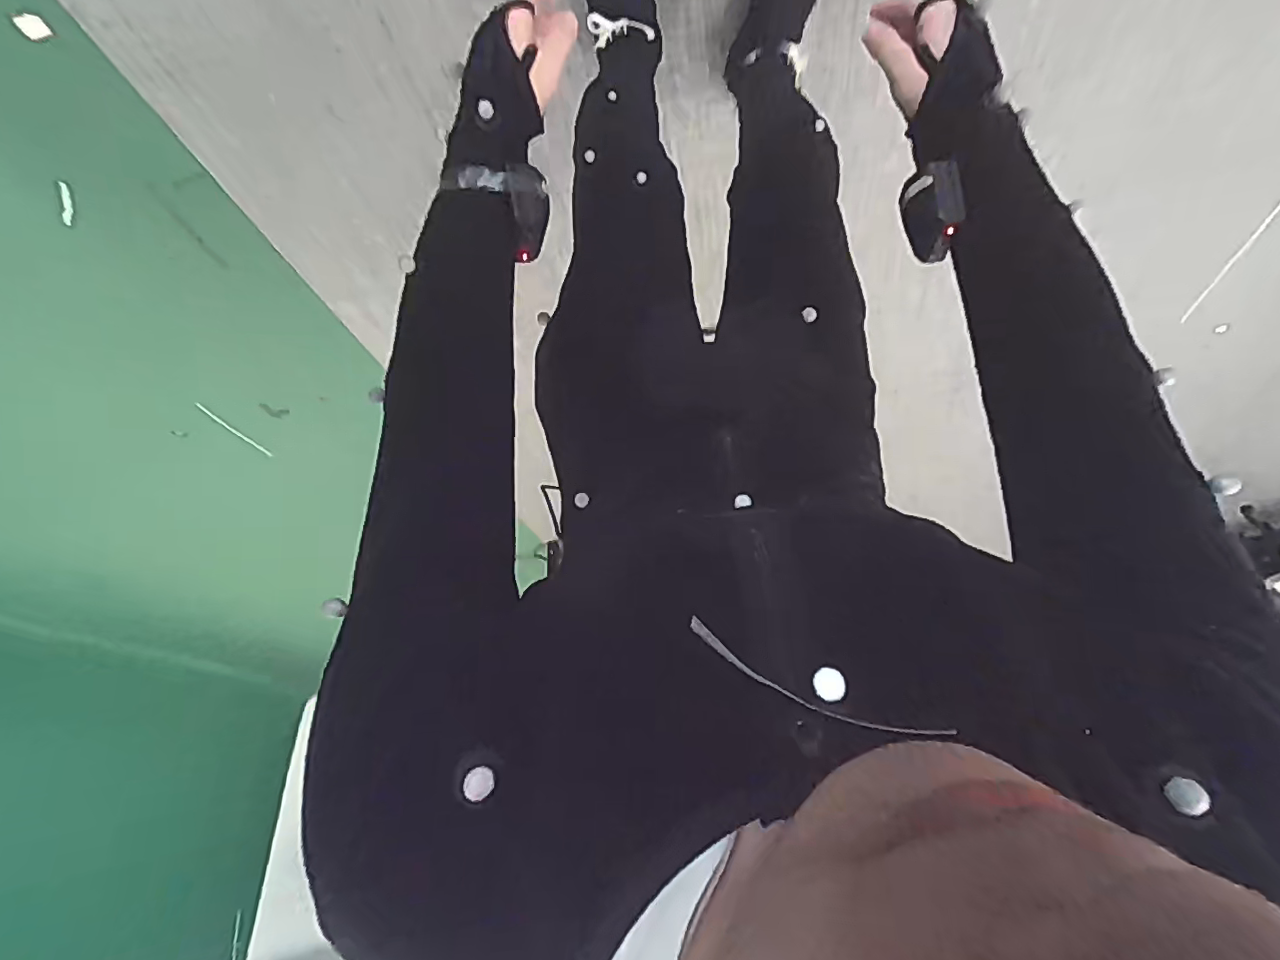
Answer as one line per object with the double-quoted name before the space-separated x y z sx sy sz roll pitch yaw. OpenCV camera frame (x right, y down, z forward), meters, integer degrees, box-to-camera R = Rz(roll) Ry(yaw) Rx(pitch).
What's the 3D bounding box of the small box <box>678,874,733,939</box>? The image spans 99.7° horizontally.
"small box" 0.240 1.588 2.021 0.179 0.176 0.168 -12 149 9
